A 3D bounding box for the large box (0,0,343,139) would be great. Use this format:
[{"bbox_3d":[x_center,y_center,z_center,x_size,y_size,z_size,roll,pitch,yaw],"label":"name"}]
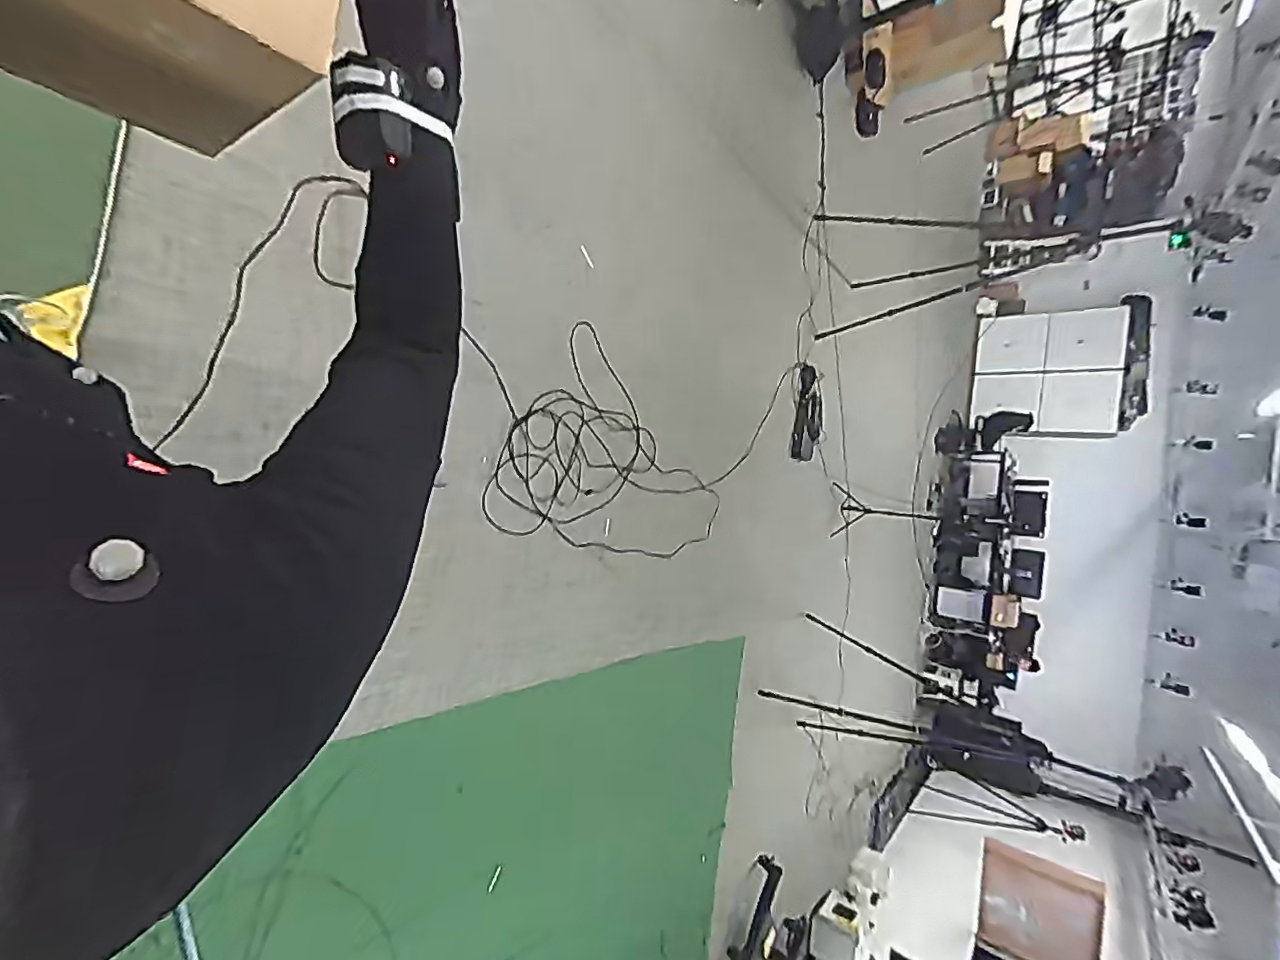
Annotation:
[{"bbox_3d":[-0.424,-0.472,0.299,0.408,0.320,0.320,4,99,-51],"label":"large box"}]
